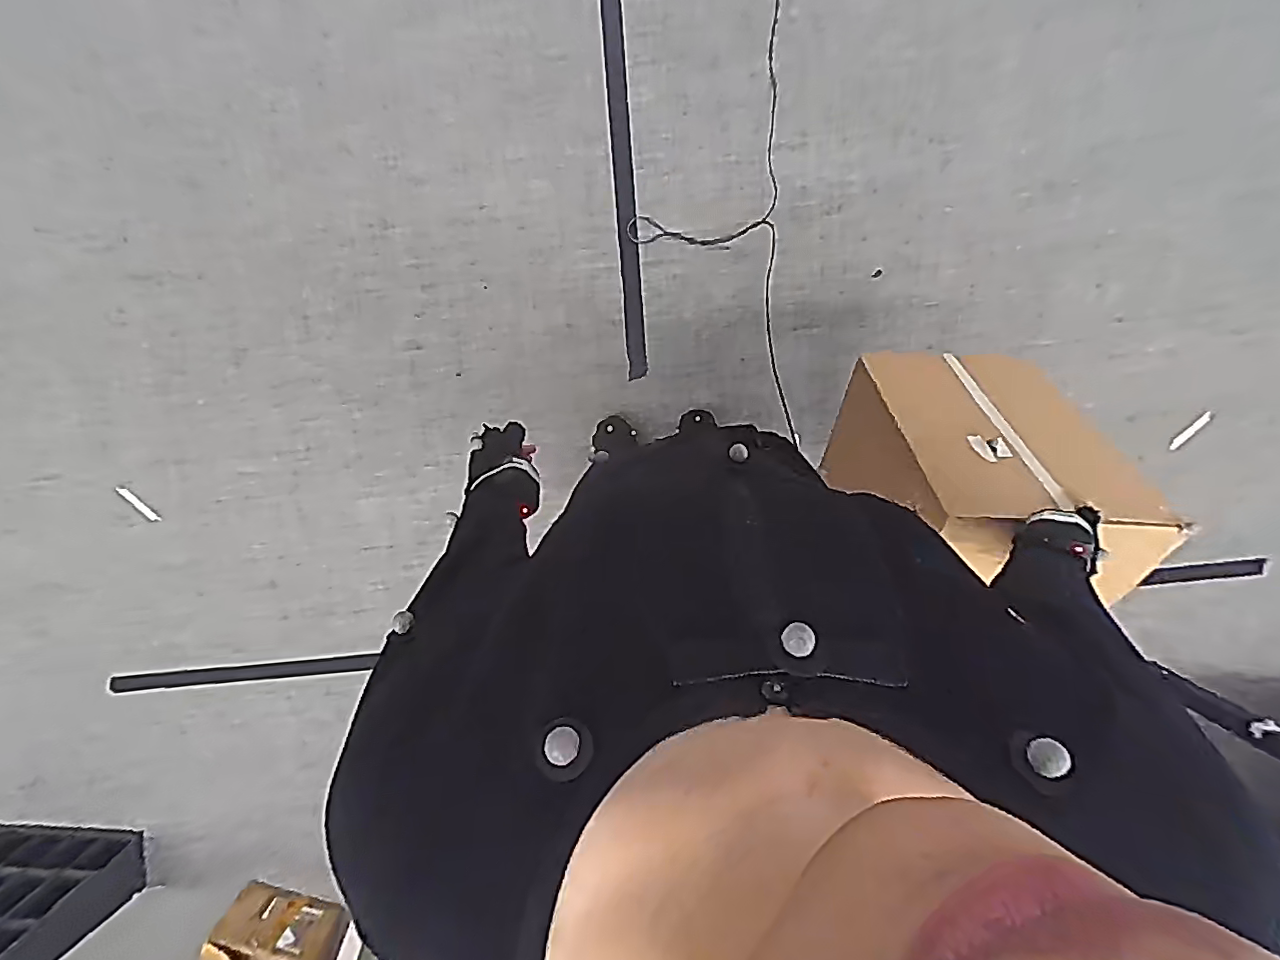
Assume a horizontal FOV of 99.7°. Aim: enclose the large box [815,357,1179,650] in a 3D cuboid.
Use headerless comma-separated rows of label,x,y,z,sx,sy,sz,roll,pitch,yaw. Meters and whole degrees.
large box,0.536,0.033,0.936,0.320,0.408,0.320,2,134,-1
